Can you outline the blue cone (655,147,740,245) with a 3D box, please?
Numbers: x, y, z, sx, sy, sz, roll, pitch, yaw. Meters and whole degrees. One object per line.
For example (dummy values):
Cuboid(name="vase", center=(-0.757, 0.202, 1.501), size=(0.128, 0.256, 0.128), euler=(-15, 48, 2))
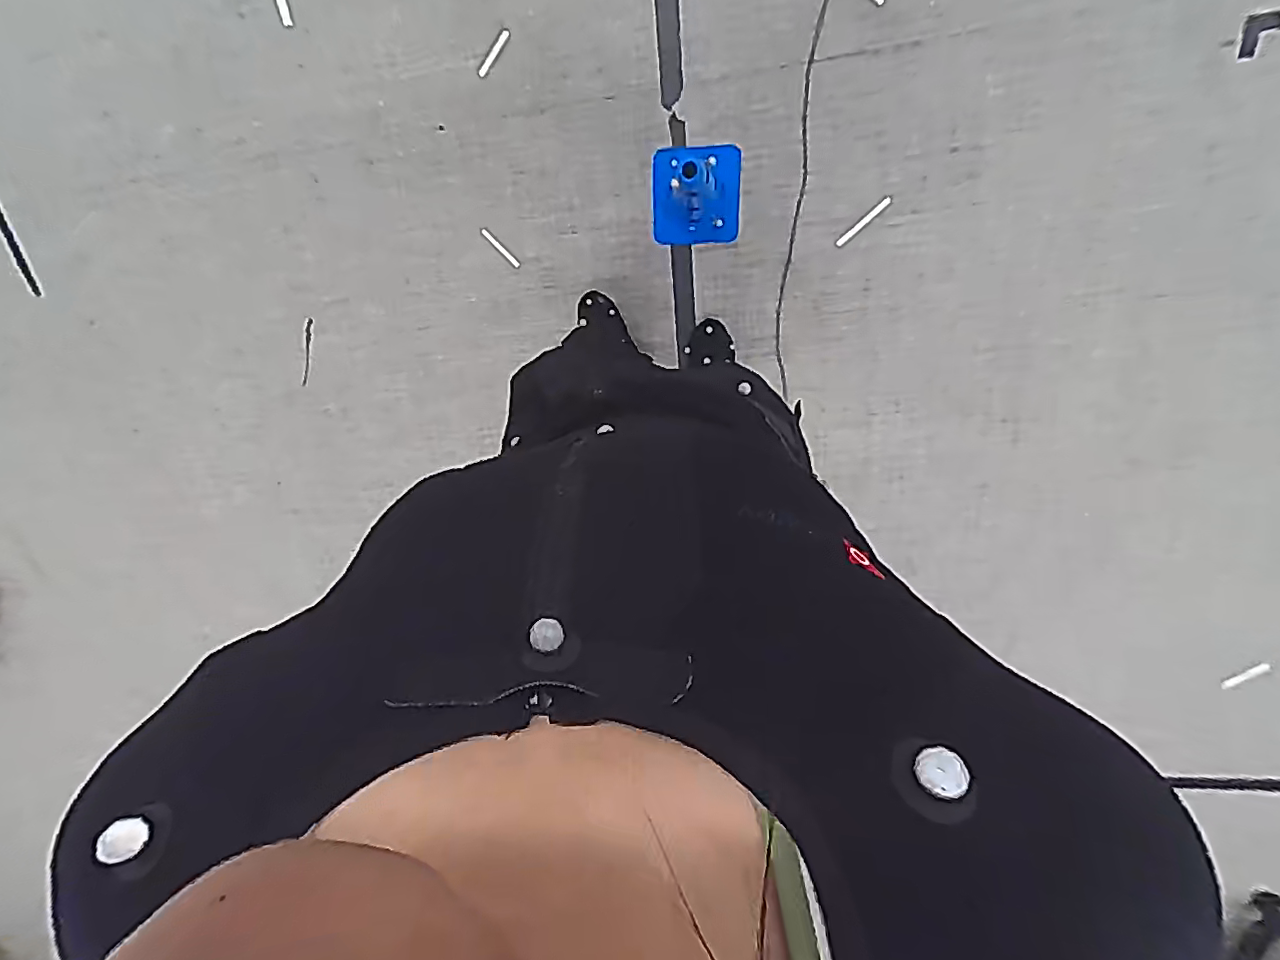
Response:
Cuboid(name="blue cone", center=(0.112, -0.582, 1.071), size=(0.193, 0.380, 0.192), euler=(0, 111, 7))
